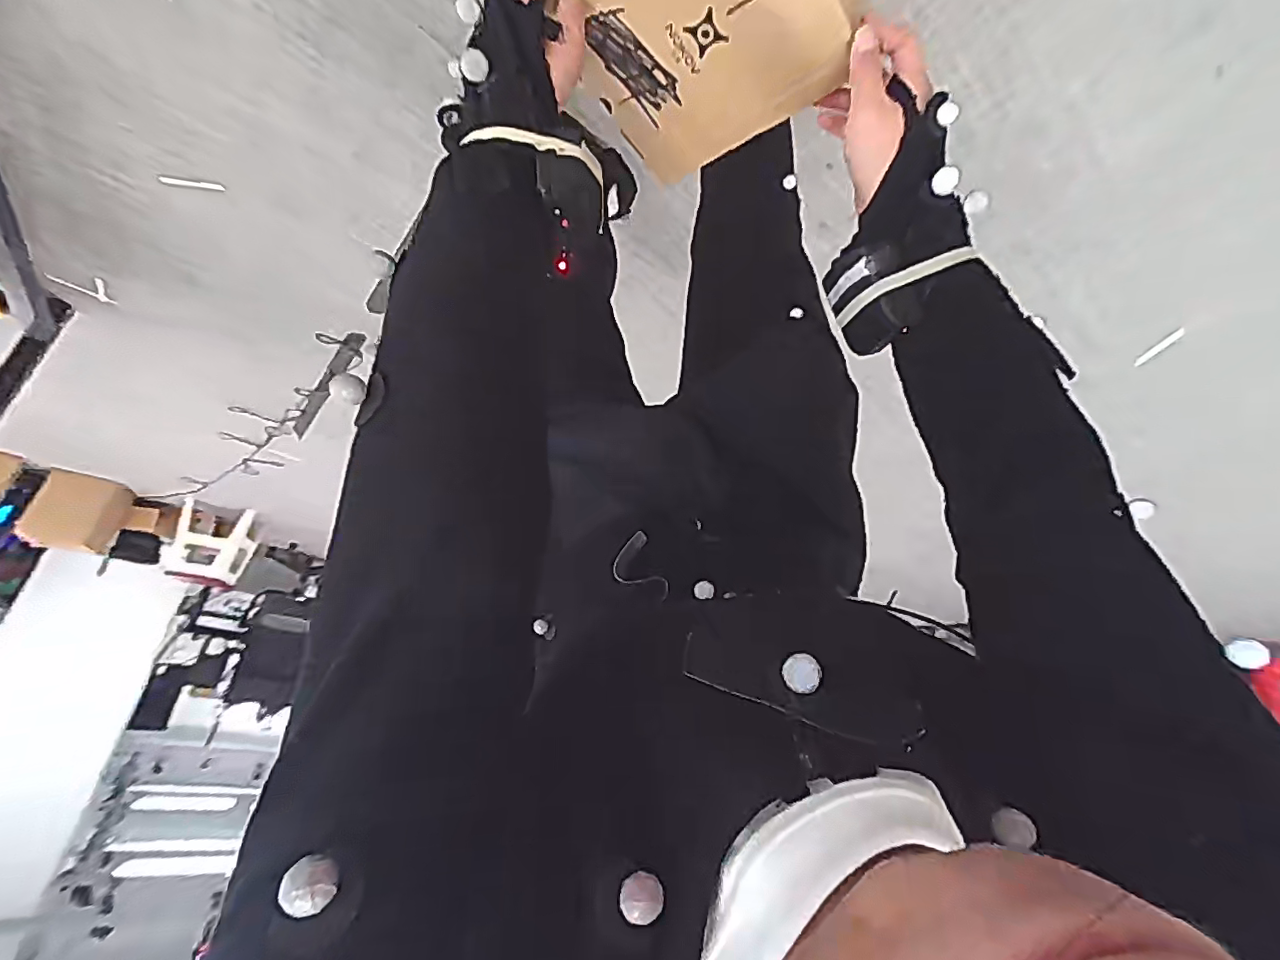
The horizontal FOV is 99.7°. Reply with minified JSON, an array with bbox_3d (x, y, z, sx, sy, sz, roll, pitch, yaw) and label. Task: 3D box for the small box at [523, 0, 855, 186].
[{"bbox_3d":[0.048,-0.369,0.394,0.179,0.176,0.168,-8,154,39],"label":"small box"}]
